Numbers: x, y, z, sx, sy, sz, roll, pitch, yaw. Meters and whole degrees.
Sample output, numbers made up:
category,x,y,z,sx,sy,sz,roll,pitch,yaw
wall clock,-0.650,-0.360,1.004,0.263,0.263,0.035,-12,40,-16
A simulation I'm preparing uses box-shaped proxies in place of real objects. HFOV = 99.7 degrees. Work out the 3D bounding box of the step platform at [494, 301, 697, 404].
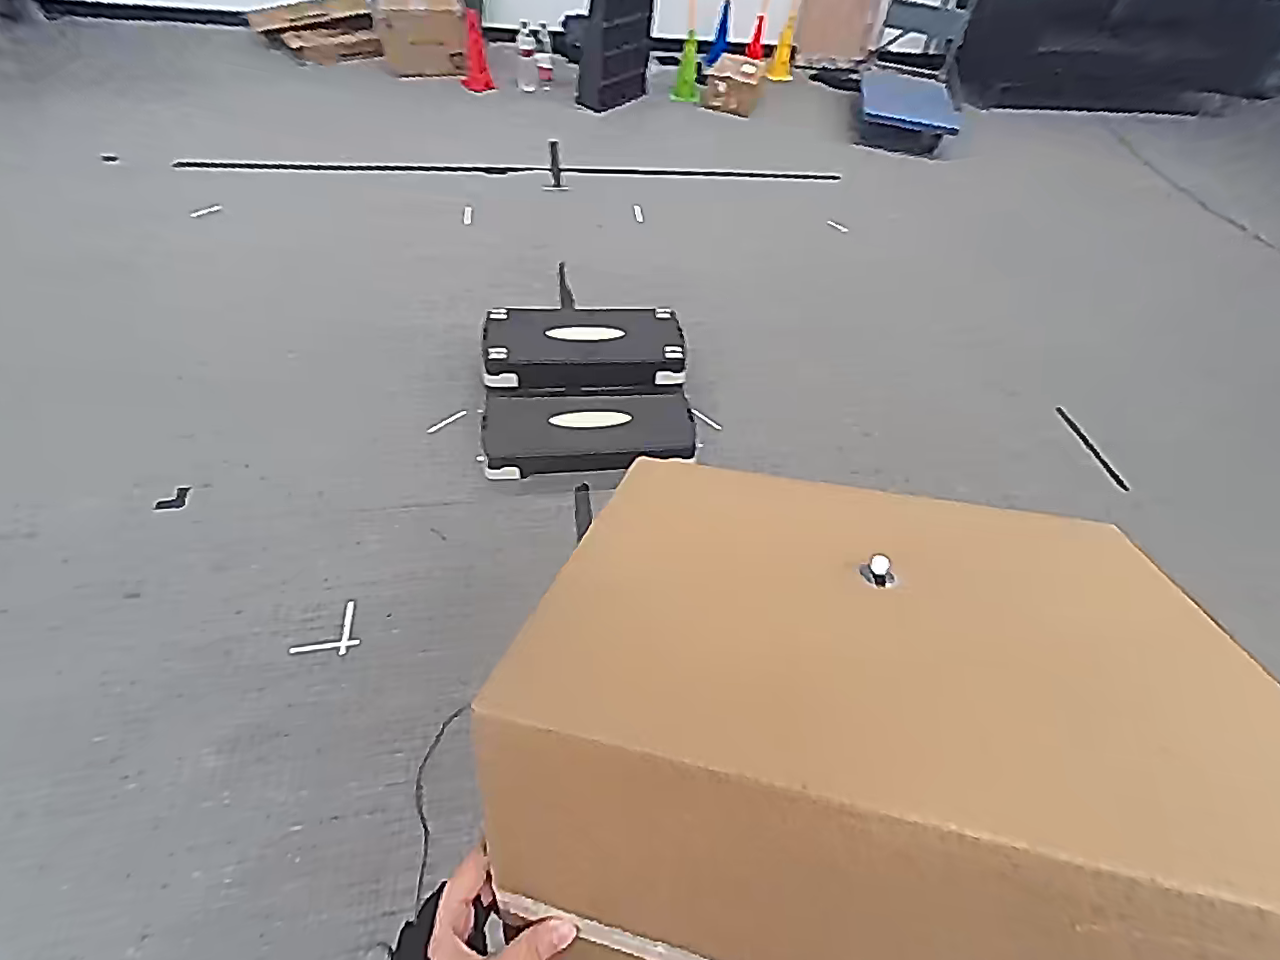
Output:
category,x,y,z,sx,sy,sz,roll,pitch,yaw
step platform,-0.149,-0.438,1.852,0.684,0.204,0.286,2,54,-6

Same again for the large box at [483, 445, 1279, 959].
category,x,y,z,sx,sy,sz,roll,pitch,yaw
large box,0.149,0.180,0.406,0.408,0.320,0.320,7,27,11
